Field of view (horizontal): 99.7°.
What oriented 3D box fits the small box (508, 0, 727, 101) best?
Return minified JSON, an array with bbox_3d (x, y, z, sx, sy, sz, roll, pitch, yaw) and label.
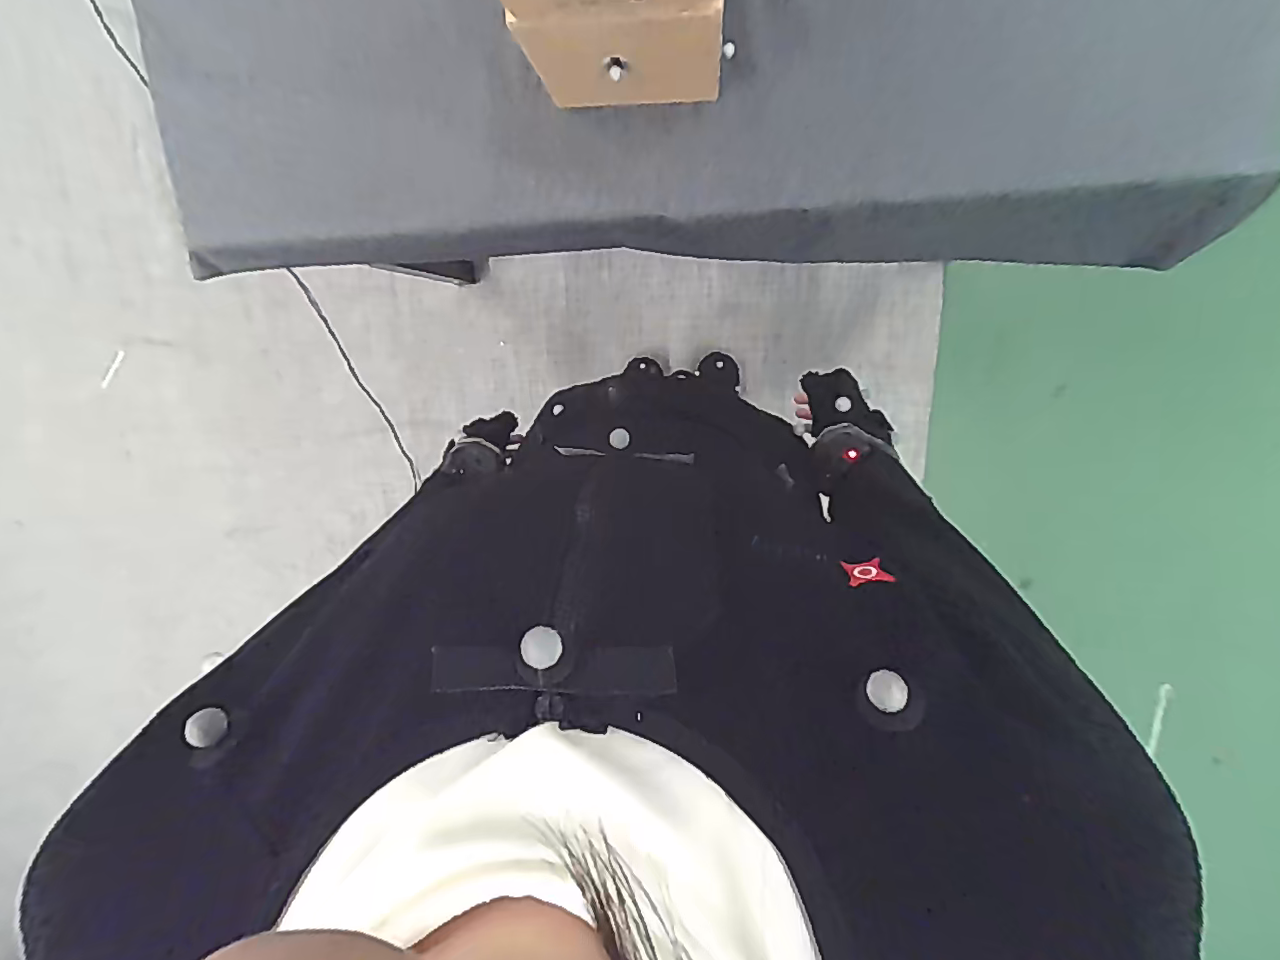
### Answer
[{"bbox_3d":[-0.010,-0.467,0.483,0.179,0.176,0.168,2,105,7],"label":"small box"}]
